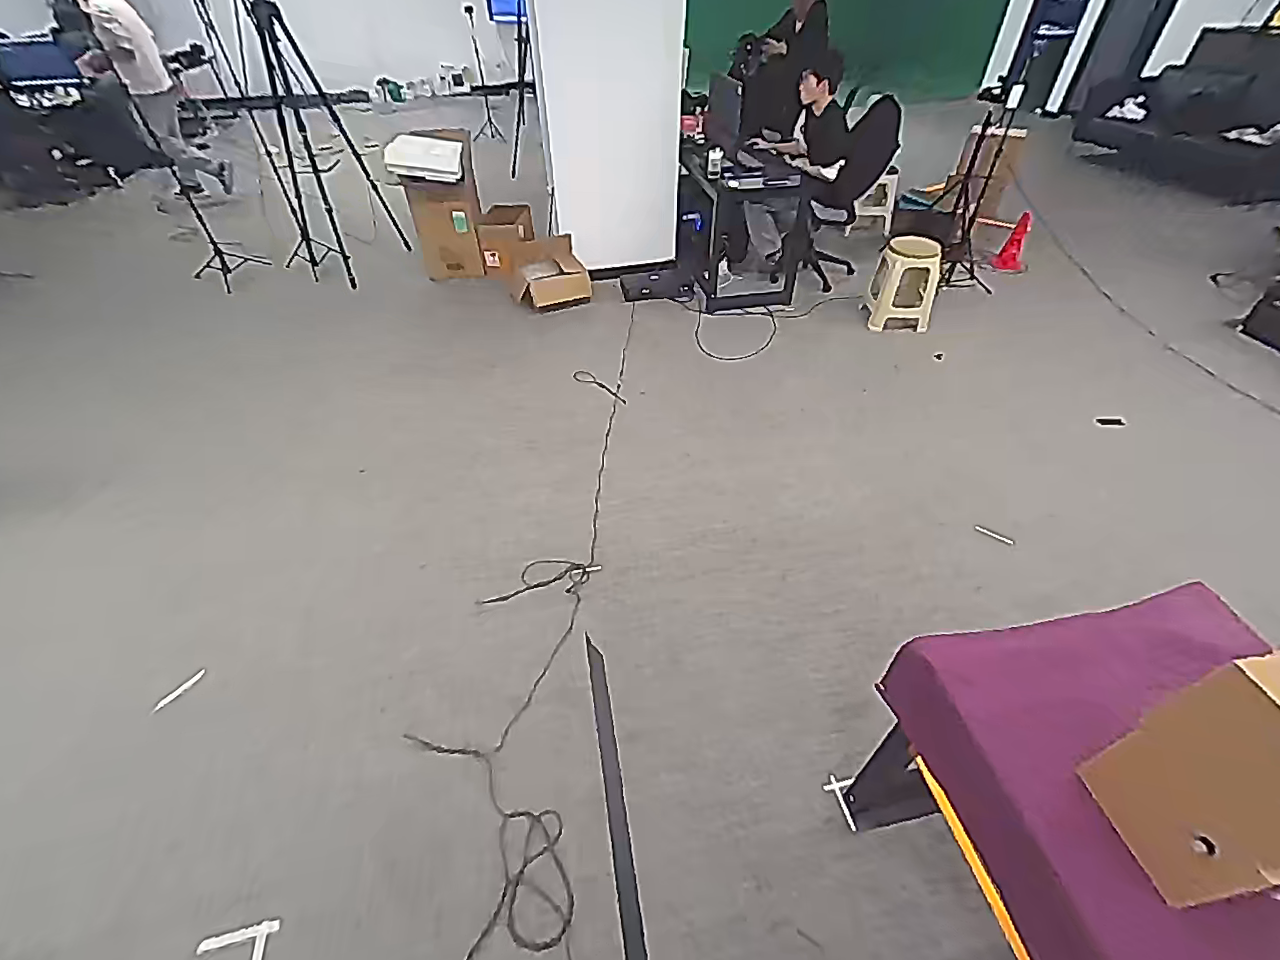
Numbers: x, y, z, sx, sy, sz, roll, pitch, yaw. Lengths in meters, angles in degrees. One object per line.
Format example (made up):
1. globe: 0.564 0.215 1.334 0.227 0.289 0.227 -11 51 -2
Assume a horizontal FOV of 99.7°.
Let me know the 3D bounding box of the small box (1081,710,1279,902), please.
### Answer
1. small box: 0.759 0.437 0.720 0.168 0.176 0.179 -6 44 -6
